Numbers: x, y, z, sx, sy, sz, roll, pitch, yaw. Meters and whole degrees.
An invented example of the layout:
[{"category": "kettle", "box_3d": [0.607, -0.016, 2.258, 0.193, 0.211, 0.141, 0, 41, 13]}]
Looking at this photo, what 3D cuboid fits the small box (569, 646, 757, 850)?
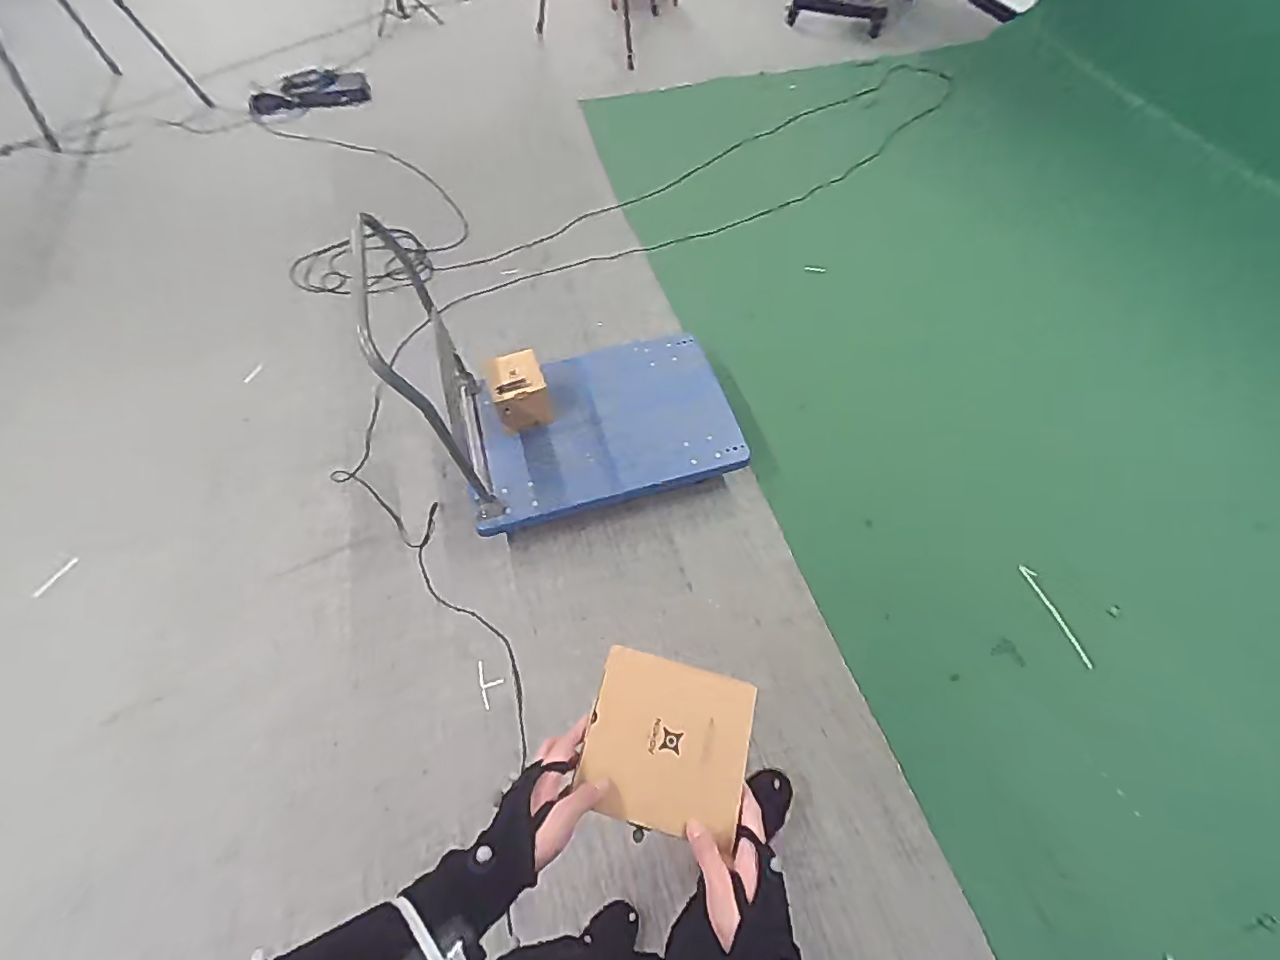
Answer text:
[{"category": "small box", "box_3d": [0.023, 0.321, 0.650, 0.179, 0.176, 0.168, 16, 59, 3]}]
